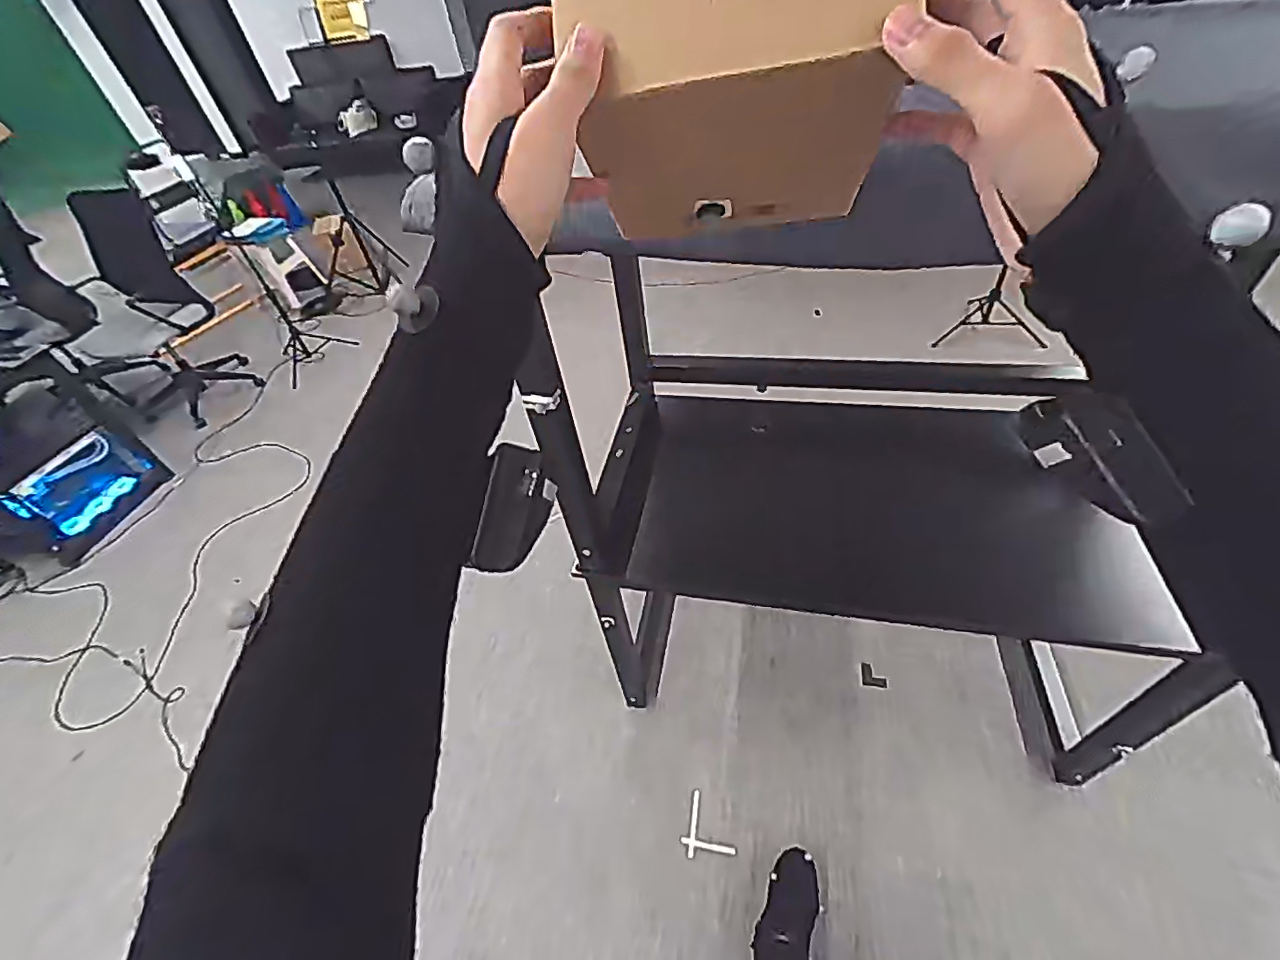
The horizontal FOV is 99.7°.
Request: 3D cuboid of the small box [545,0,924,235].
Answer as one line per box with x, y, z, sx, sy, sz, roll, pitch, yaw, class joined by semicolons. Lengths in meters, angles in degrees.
0.048;-0.273;0.316;0.168;0.176;0.179;-3;91;11;small box
